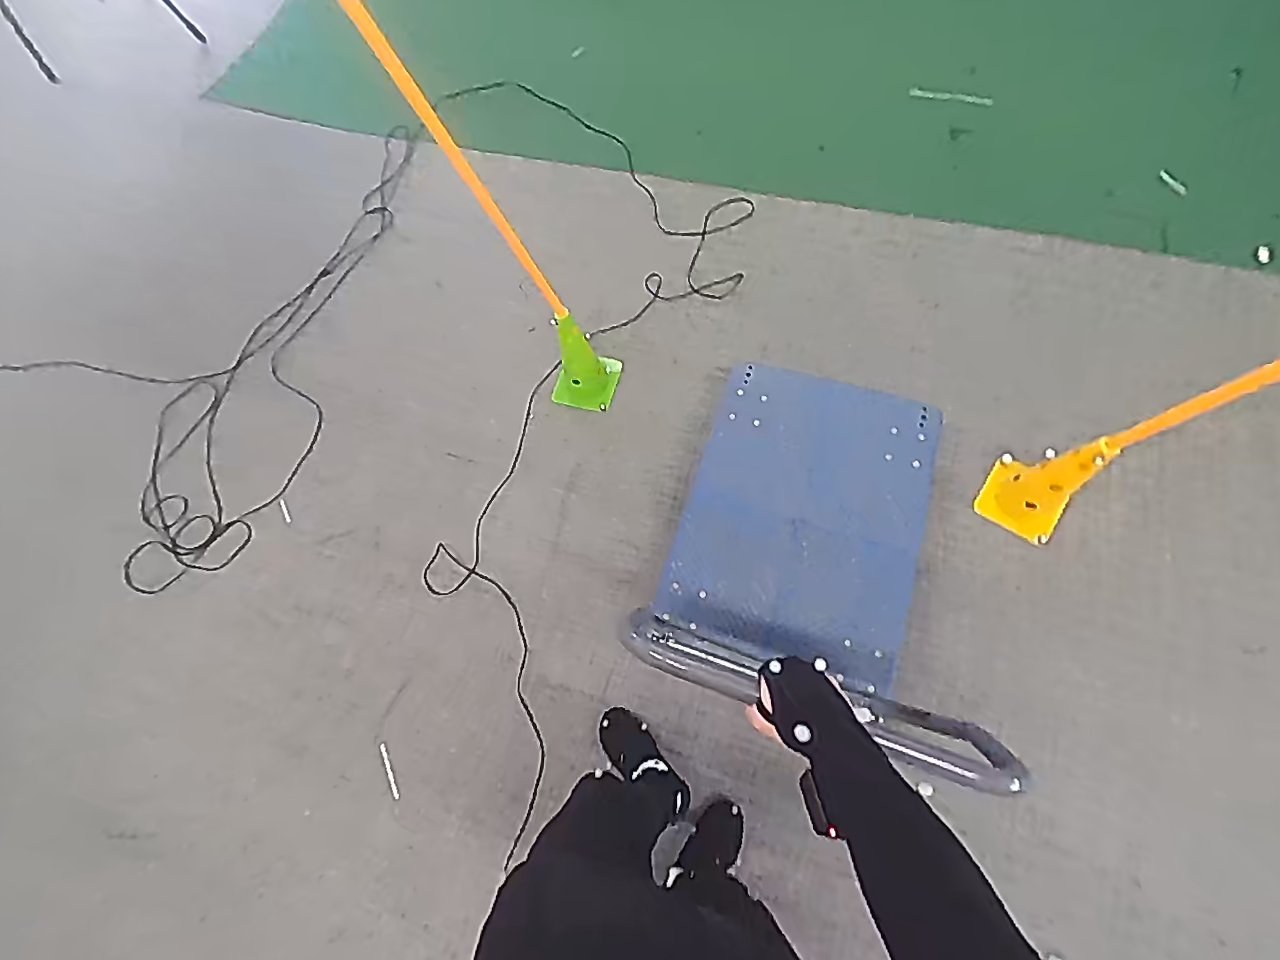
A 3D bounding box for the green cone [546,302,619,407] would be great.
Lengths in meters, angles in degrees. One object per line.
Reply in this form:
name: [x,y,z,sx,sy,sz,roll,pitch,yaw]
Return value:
green cone: [-0.207,-0.402,1.627,0.202,0.368,0.200,11,70,13]
